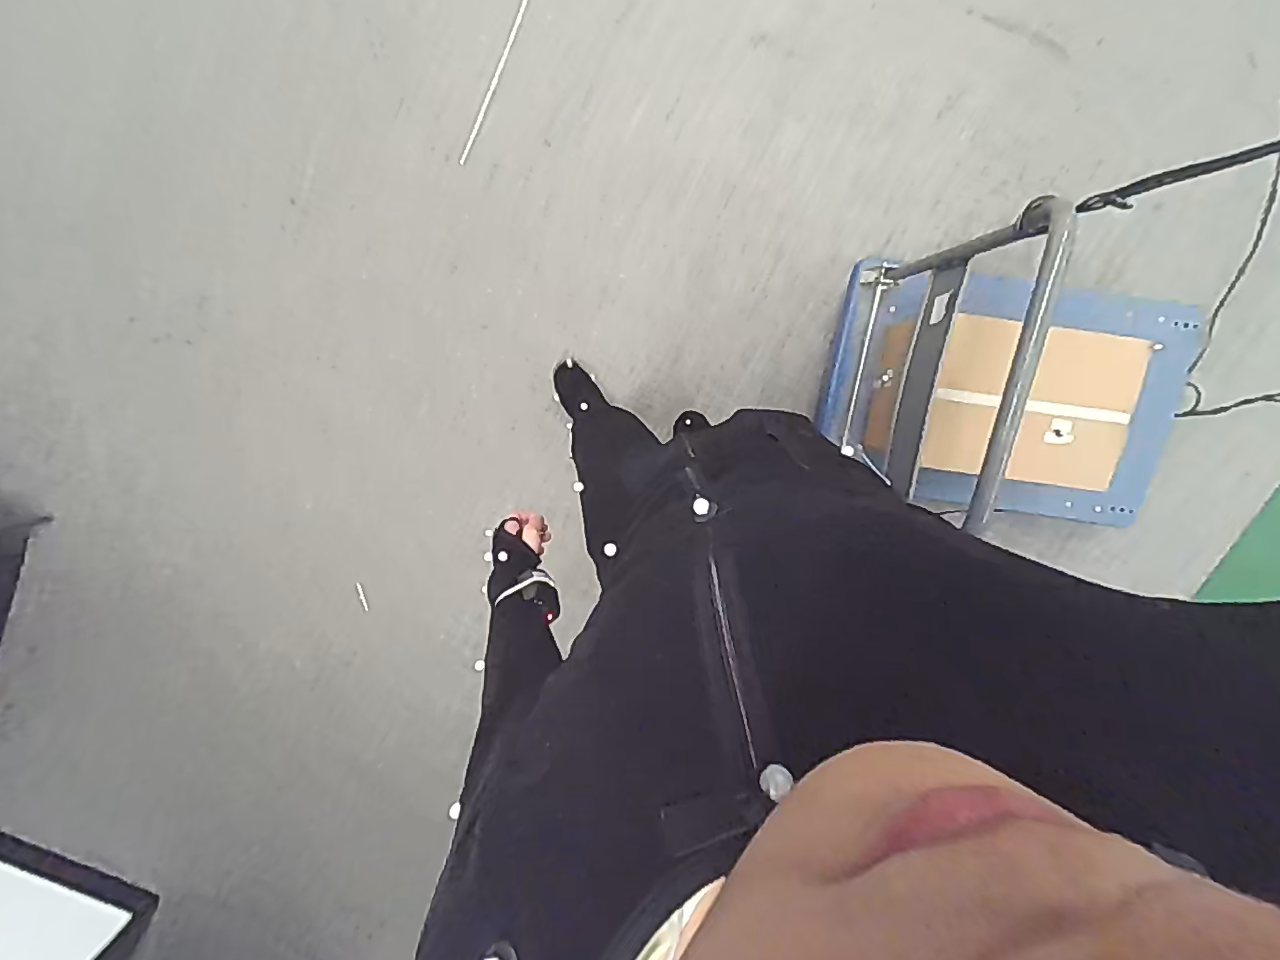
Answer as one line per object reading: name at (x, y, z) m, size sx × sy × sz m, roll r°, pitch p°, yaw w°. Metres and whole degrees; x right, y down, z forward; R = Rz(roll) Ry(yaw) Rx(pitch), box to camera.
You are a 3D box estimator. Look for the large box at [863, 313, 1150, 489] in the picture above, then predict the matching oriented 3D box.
large box at (0.786, -0.182, 1.231) m, size 0.408 × 0.320 × 0.320 m, roll 8°, pitch 102°, yaw -1°
